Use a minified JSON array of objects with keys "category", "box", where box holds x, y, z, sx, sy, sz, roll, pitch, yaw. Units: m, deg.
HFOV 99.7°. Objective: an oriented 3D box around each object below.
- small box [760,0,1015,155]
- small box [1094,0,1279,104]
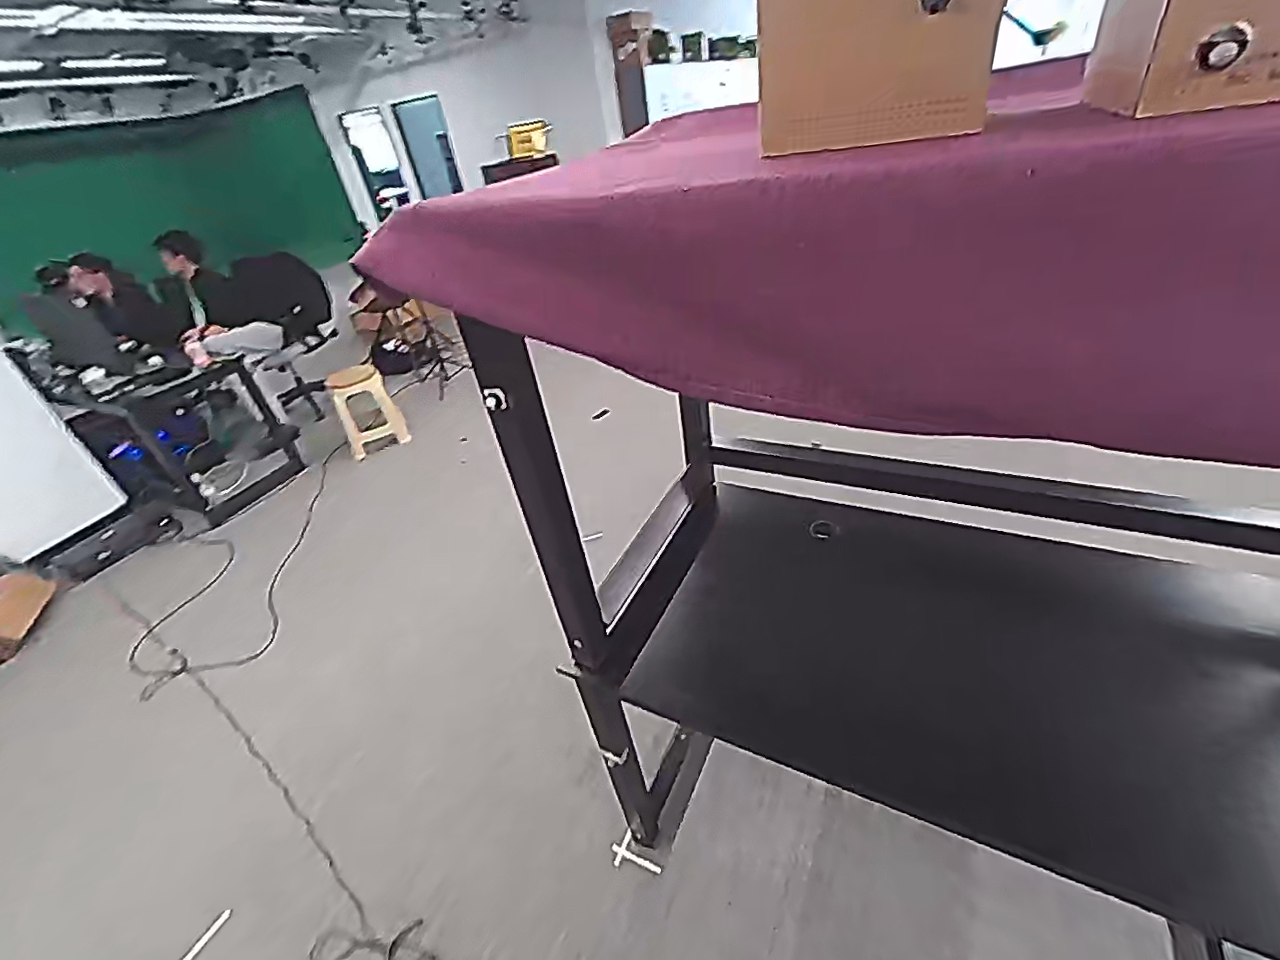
[{"category":"small box","box":[0.208,-0.384,0.447,0.179,0.176,0.168,10,38,27]},{"category":"small box","box":[0.418,-0.341,0.329,0.168,0.176,0.179,7,37,23]}]
